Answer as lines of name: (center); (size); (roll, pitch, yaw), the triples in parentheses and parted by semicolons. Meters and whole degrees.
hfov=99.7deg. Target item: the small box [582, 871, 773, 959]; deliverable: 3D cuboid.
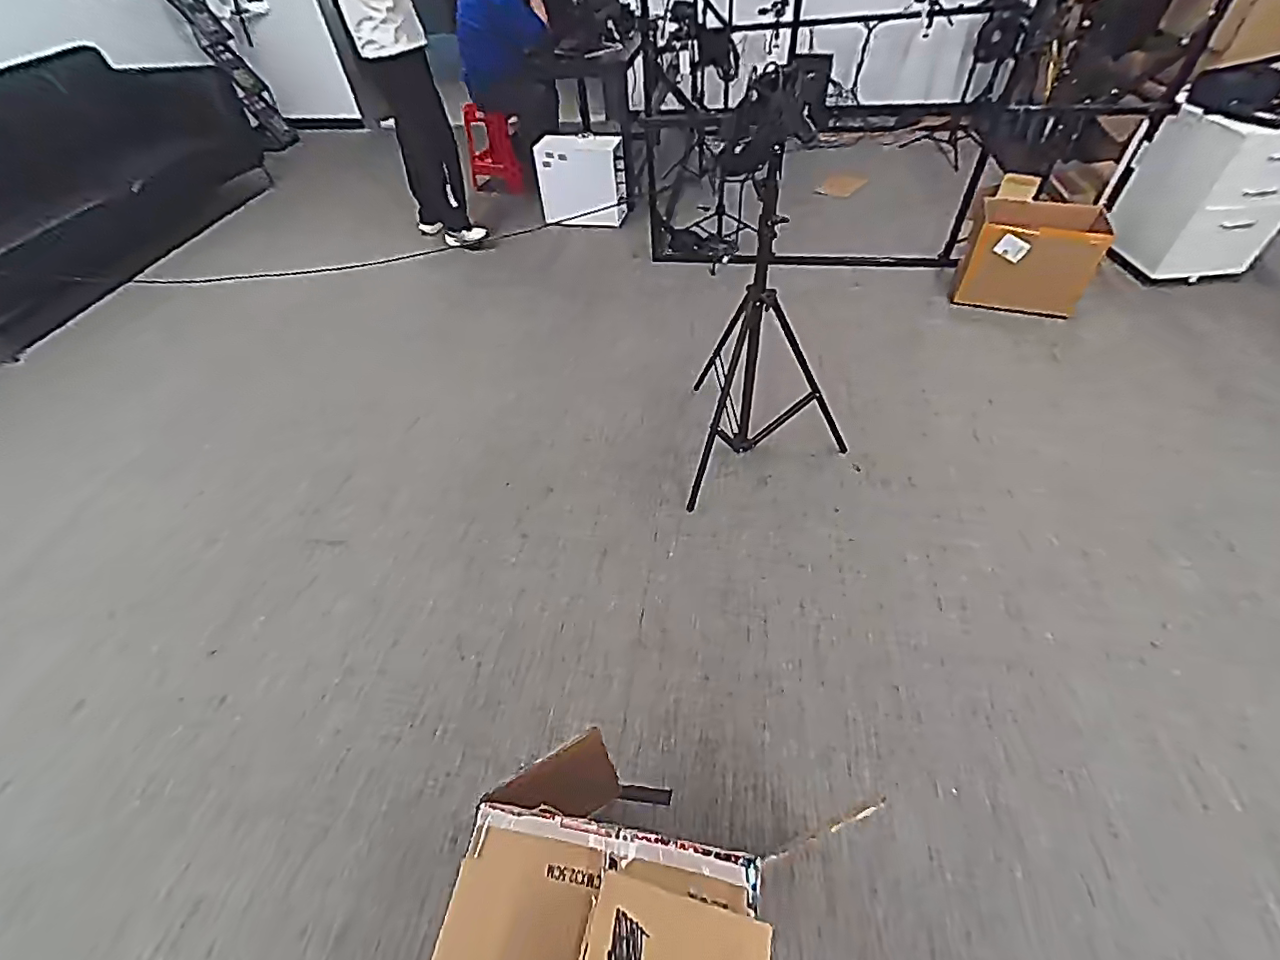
small box: (0.028, 0.531, 0.552); (0.179, 0.176, 0.168); (10, 51, 11)
